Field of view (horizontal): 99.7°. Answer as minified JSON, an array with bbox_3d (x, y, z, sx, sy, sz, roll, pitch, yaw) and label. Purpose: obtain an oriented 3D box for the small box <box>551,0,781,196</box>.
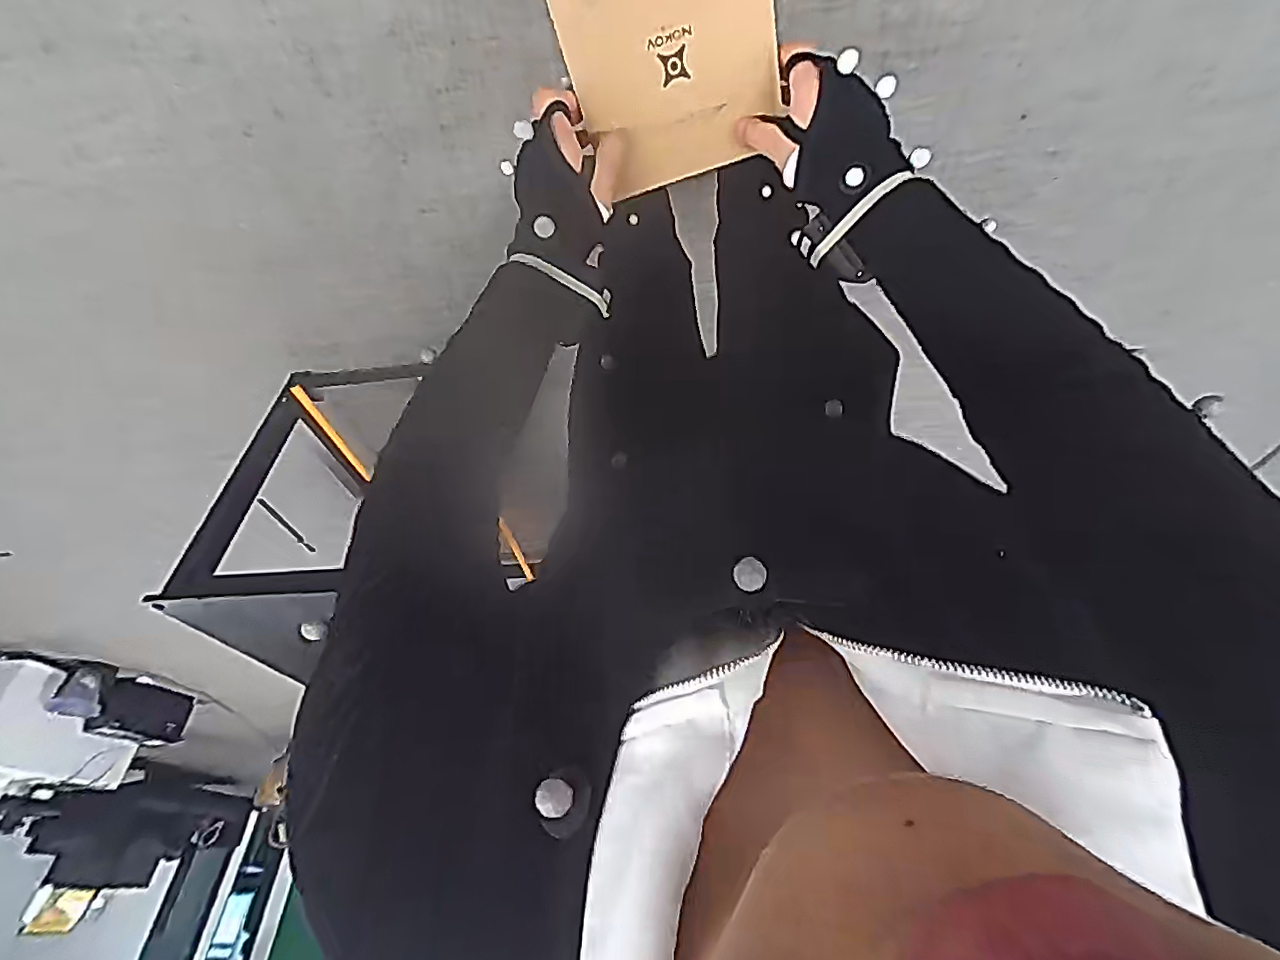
[{"bbox_3d":[0.021,-0.400,0.492,0.168,0.176,0.179,-13,137,10],"label":"small box"}]
